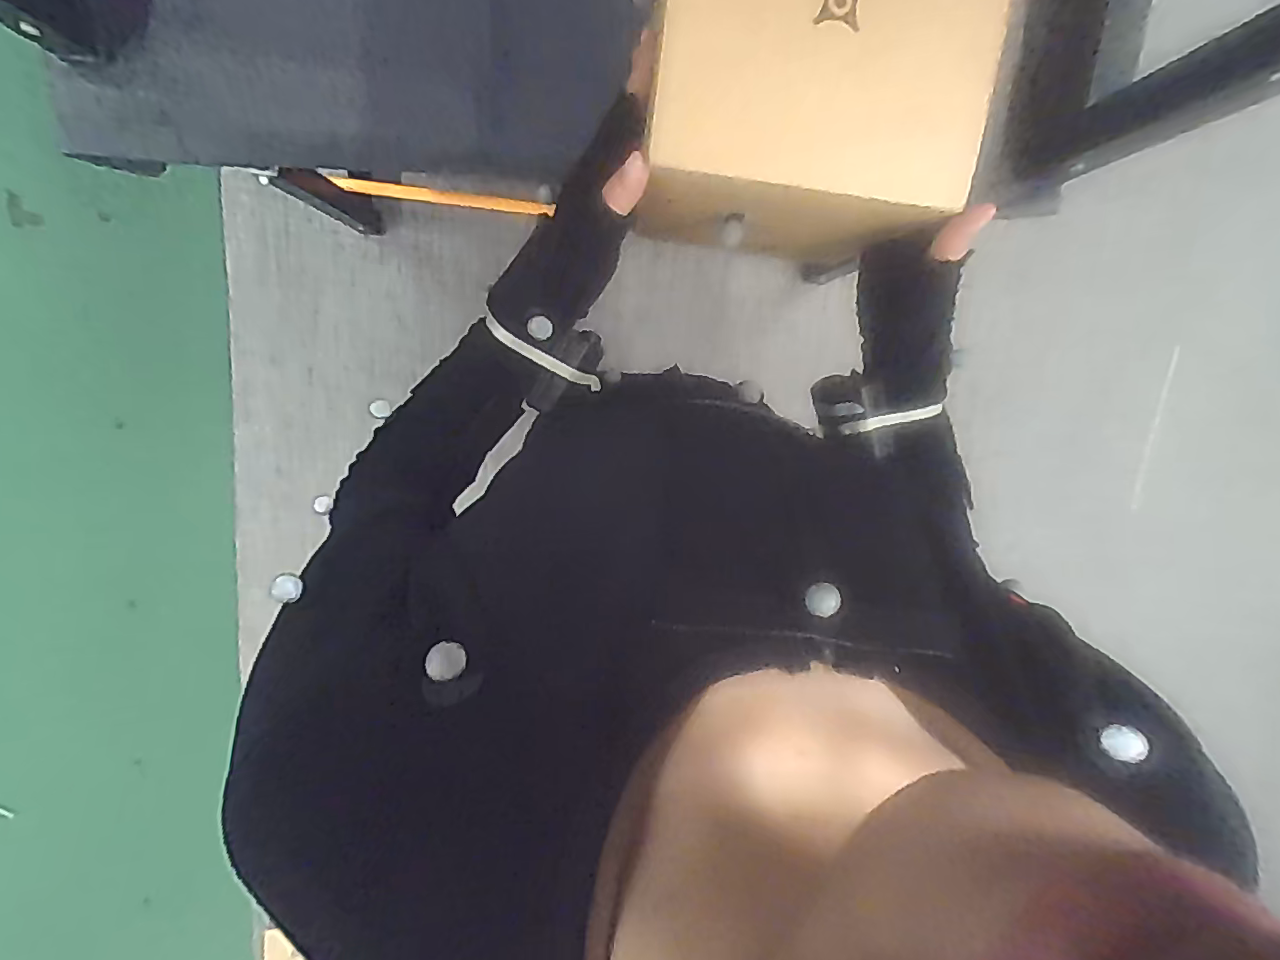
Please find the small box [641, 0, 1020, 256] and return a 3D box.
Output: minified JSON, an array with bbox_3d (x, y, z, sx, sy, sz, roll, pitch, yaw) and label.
[{"bbox_3d":[0.092,-0.247,0.325,0.168,0.176,0.179,6,101,-4],"label":"small box"}]
